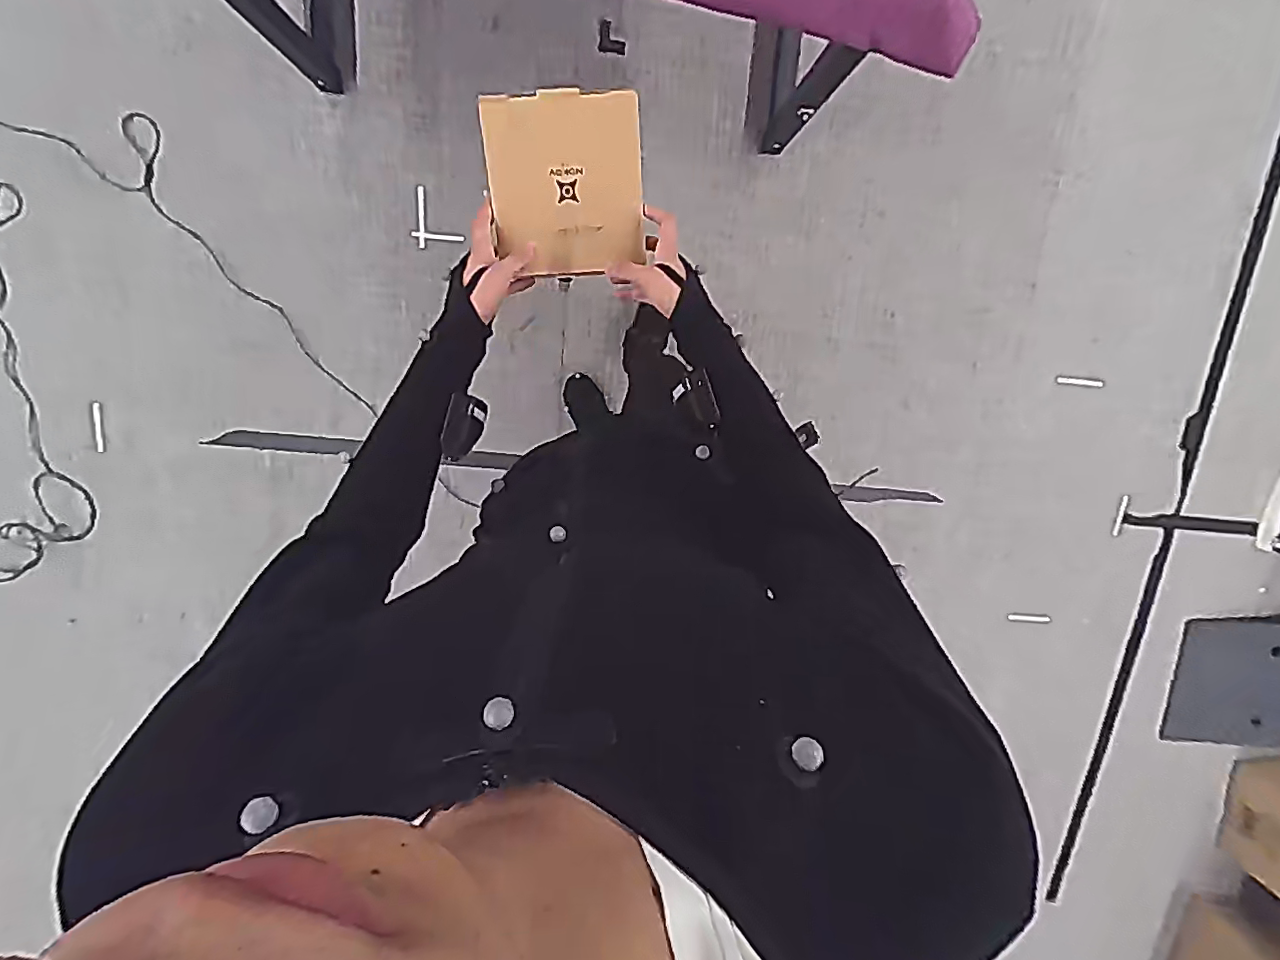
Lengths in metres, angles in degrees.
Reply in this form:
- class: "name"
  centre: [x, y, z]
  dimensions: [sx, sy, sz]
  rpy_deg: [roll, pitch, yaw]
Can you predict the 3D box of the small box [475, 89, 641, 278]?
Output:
- class: "small box"
  centre: [-0.093, -0.344, 0.656]
  dimensions: [0.168, 0.176, 0.179]
  rpy_deg: [-5, 111, -4]
